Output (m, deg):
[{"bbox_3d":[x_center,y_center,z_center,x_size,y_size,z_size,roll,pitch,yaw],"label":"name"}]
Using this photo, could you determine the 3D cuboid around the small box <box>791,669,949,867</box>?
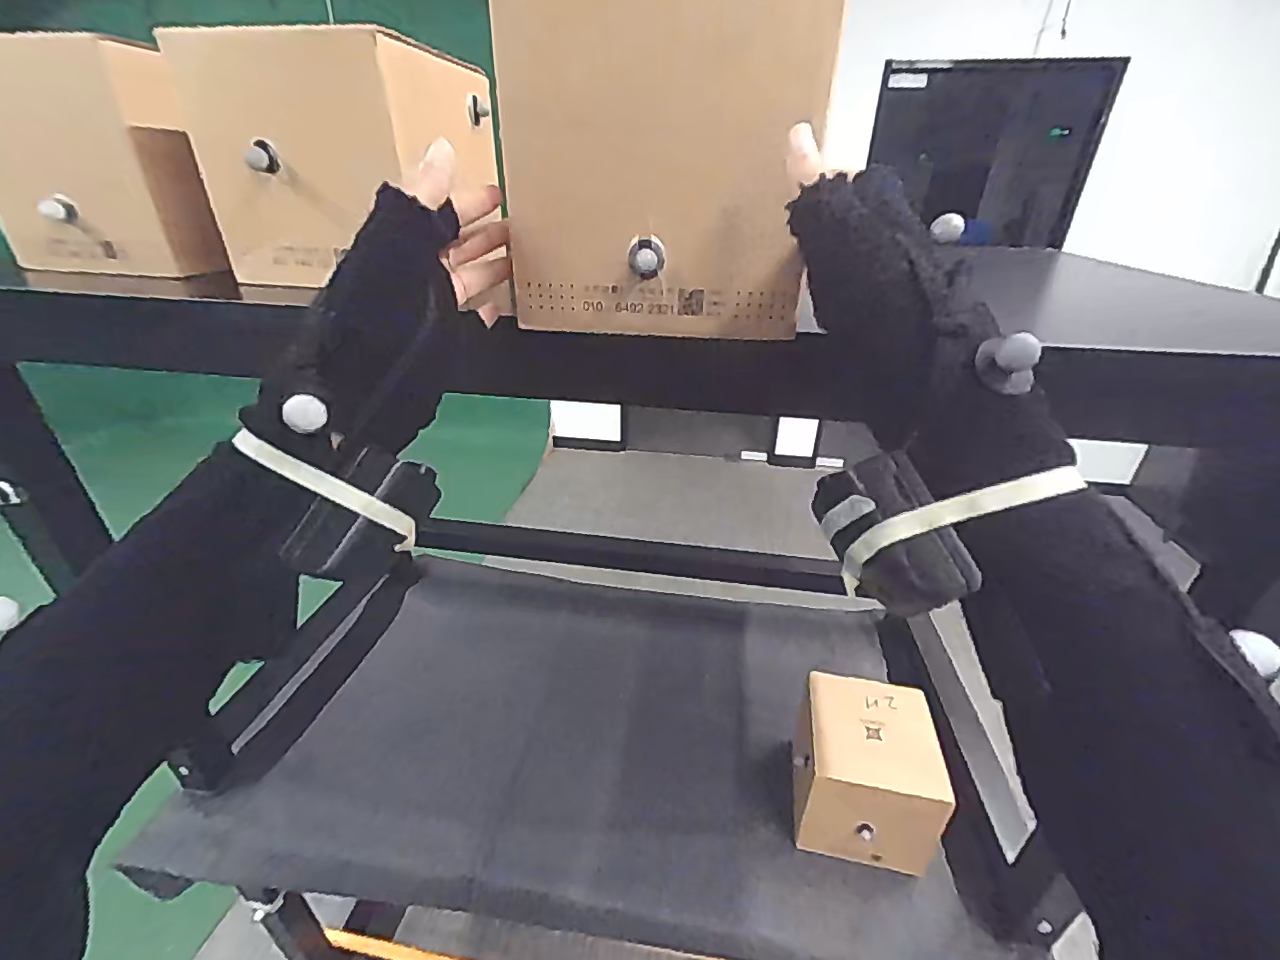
[{"bbox_3d":[0.314,0.409,0.776,0.168,0.176,0.179,7,29,11],"label":"small box"}]

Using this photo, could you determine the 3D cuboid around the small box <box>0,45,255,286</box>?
[{"bbox_3d":[-0.456,-0.291,0.515,0.168,0.176,0.179,6,30,8],"label":"small box"}]

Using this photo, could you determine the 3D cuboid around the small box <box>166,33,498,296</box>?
[{"bbox_3d":[-0.237,-0.262,0.473,0.168,0.176,0.179,6,29,9],"label":"small box"}]
